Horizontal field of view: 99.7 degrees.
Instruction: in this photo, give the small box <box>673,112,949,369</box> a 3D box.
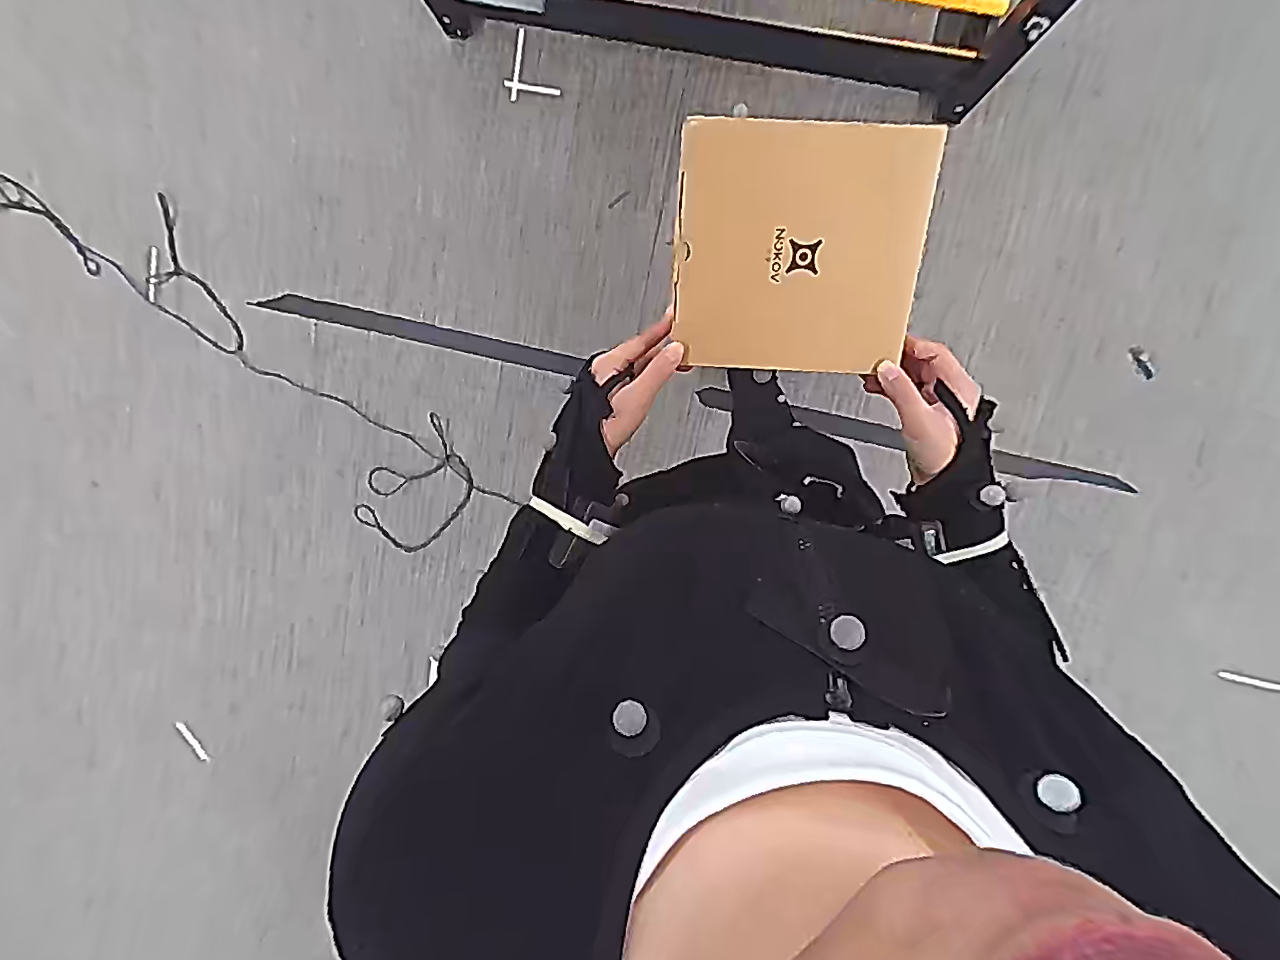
[{"bbox_3d":[0.121,-0.196,0.463,0.179,0.176,0.168,3,111,3],"label":"small box"}]
